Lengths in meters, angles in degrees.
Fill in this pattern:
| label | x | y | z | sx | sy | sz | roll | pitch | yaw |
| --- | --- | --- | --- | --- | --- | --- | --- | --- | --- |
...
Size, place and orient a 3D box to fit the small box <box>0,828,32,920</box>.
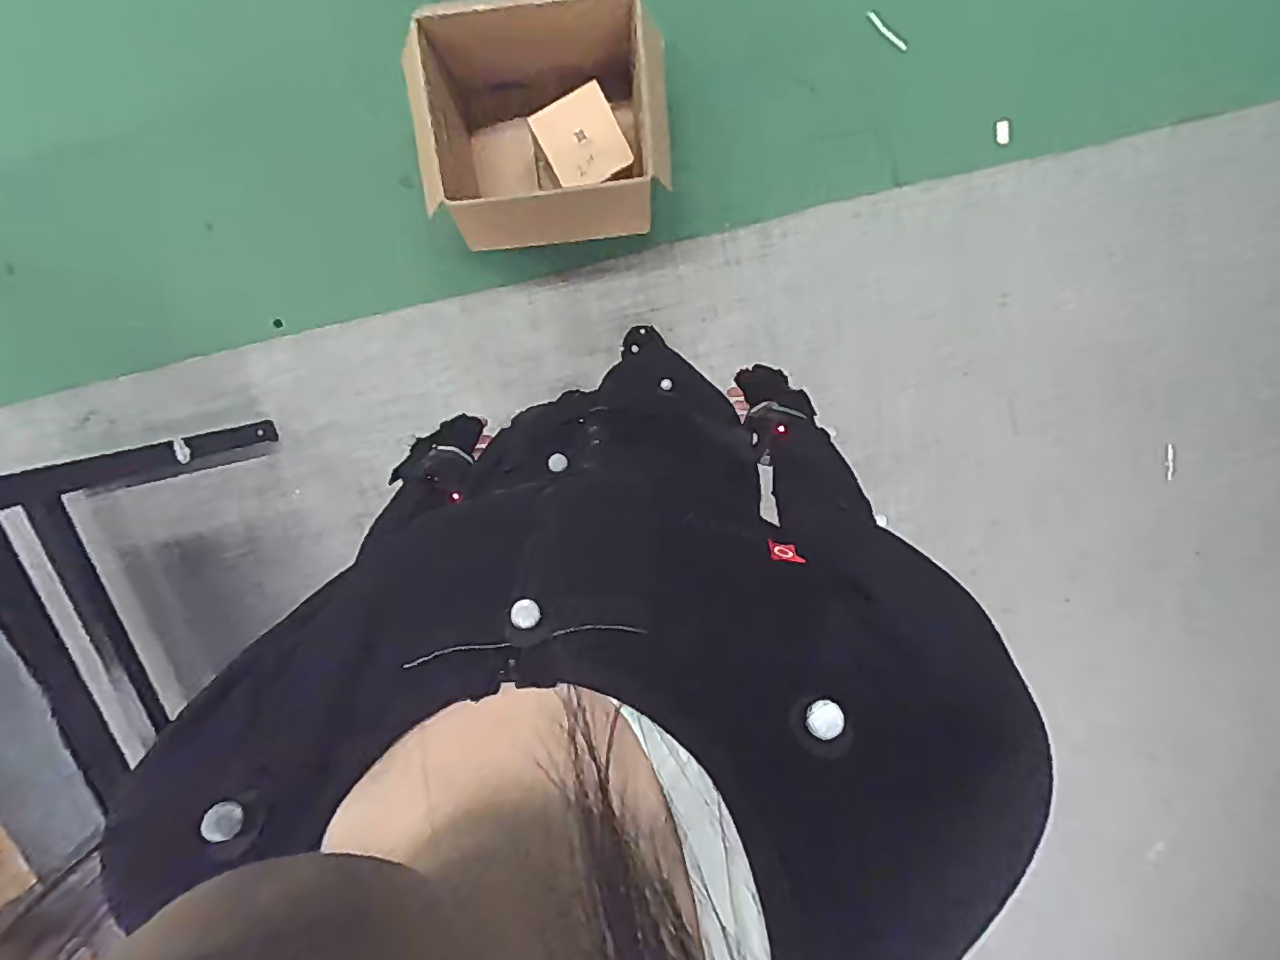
| label | x | y | z | sx | sy | sz | roll | pitch | yaw |
| --- | --- | --- | --- | --- | --- | --- | --- | --- | --- |
| small box | -1.057 | 0.618 | 0.765 | 0.179 | 0.176 | 0.168 | -14 | 103 | 1 |
